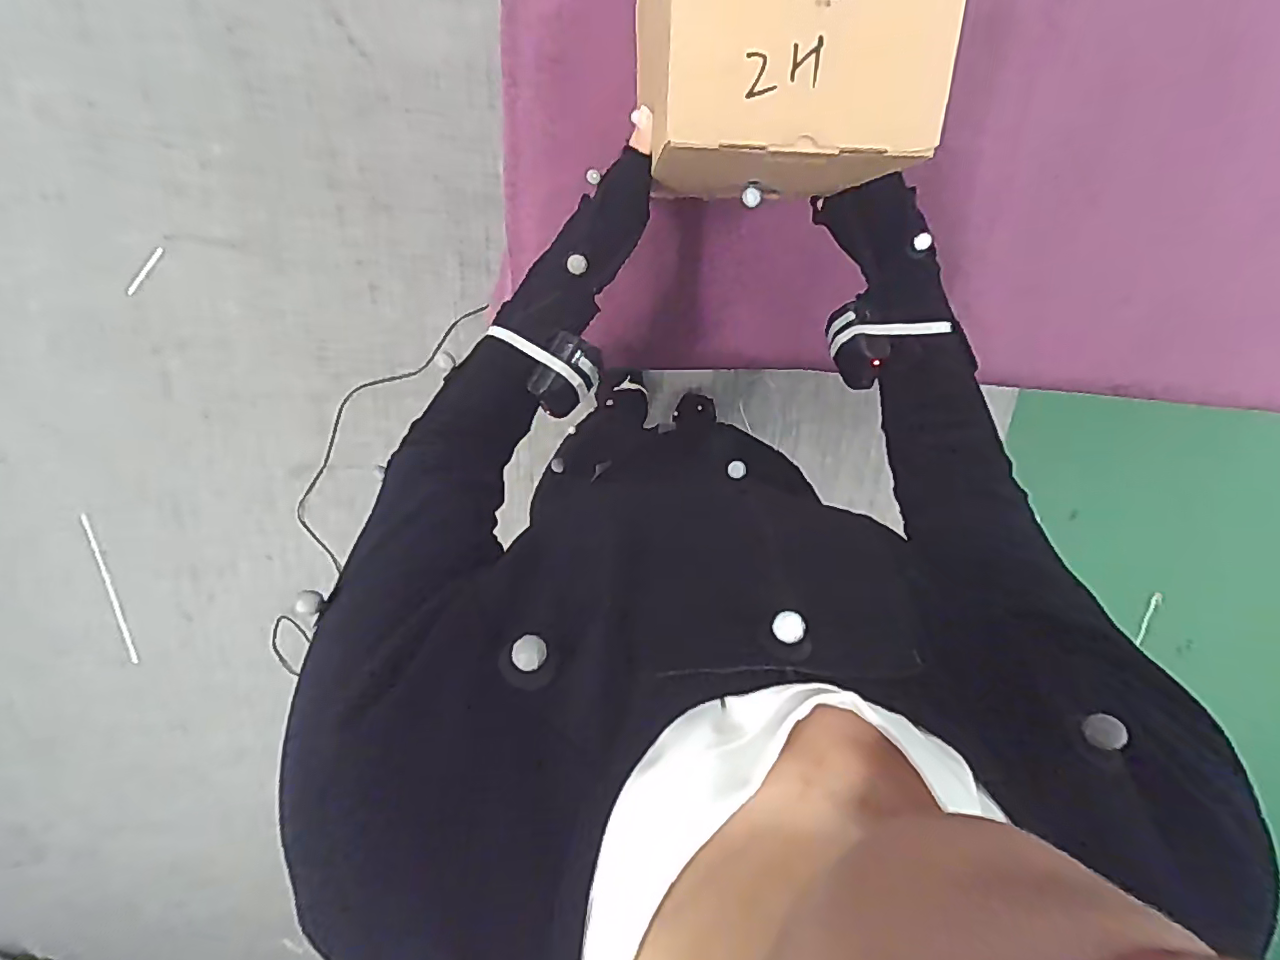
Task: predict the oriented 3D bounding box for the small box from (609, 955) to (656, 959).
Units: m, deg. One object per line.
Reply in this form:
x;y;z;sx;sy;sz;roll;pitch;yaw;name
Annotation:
-0.020;1.692;1.761;0.168;0.176;0.179;-1;109;-5;small box

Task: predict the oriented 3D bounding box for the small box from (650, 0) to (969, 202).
0.096;-0.302;0.368;0.168;0.176;0.179;0;110;-4;small box

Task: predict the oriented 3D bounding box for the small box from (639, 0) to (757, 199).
0.087;-0.379;0.514;0.168;0.176;0.179;-2;110;-4;small box
